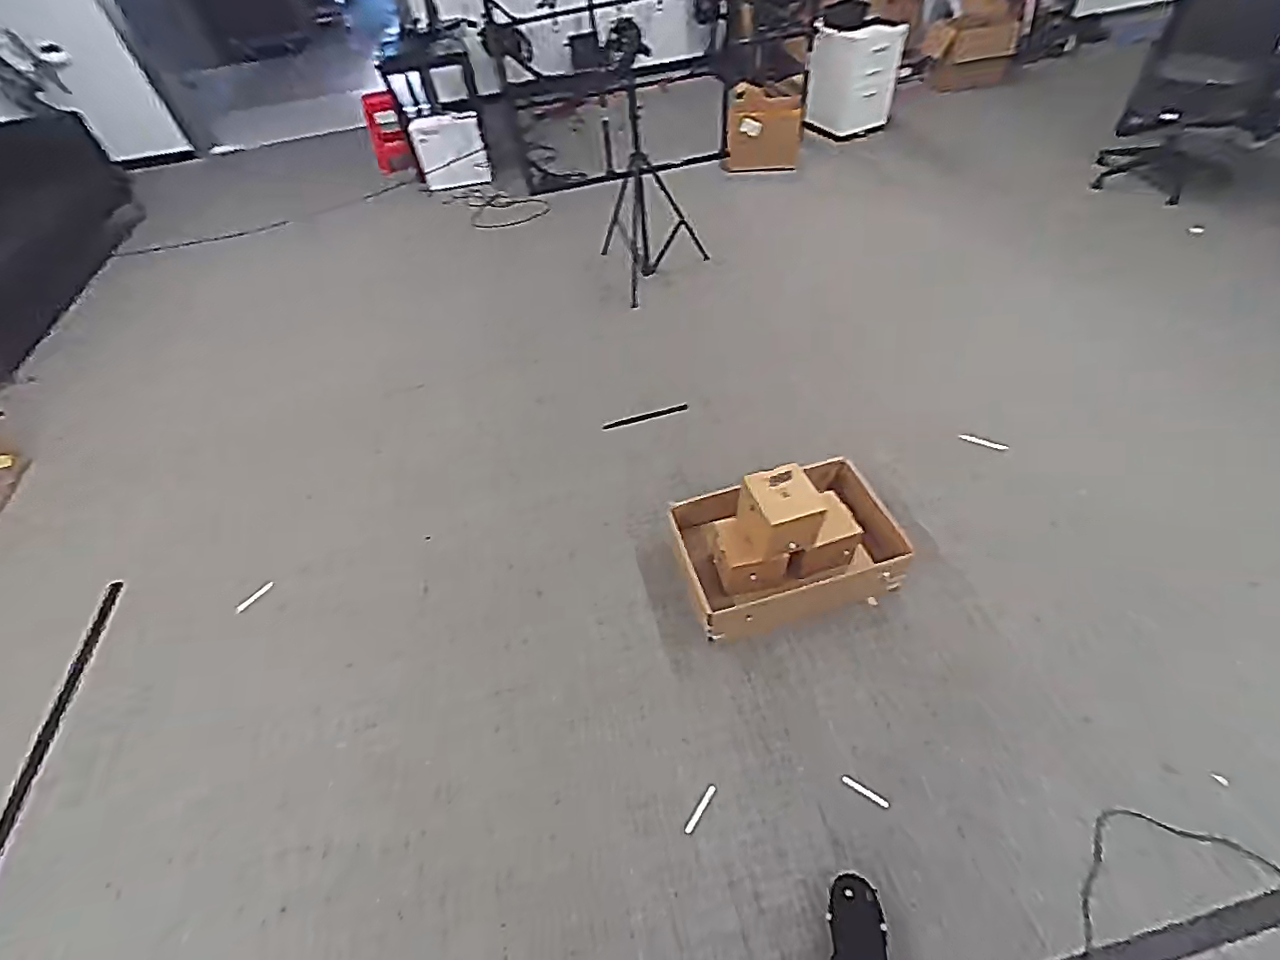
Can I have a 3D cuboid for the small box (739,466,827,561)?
[{"bbox_3d":[0.386,0.094,1.501,0.168,0.176,0.179,-15,50,-9],"label":"small box"}]
